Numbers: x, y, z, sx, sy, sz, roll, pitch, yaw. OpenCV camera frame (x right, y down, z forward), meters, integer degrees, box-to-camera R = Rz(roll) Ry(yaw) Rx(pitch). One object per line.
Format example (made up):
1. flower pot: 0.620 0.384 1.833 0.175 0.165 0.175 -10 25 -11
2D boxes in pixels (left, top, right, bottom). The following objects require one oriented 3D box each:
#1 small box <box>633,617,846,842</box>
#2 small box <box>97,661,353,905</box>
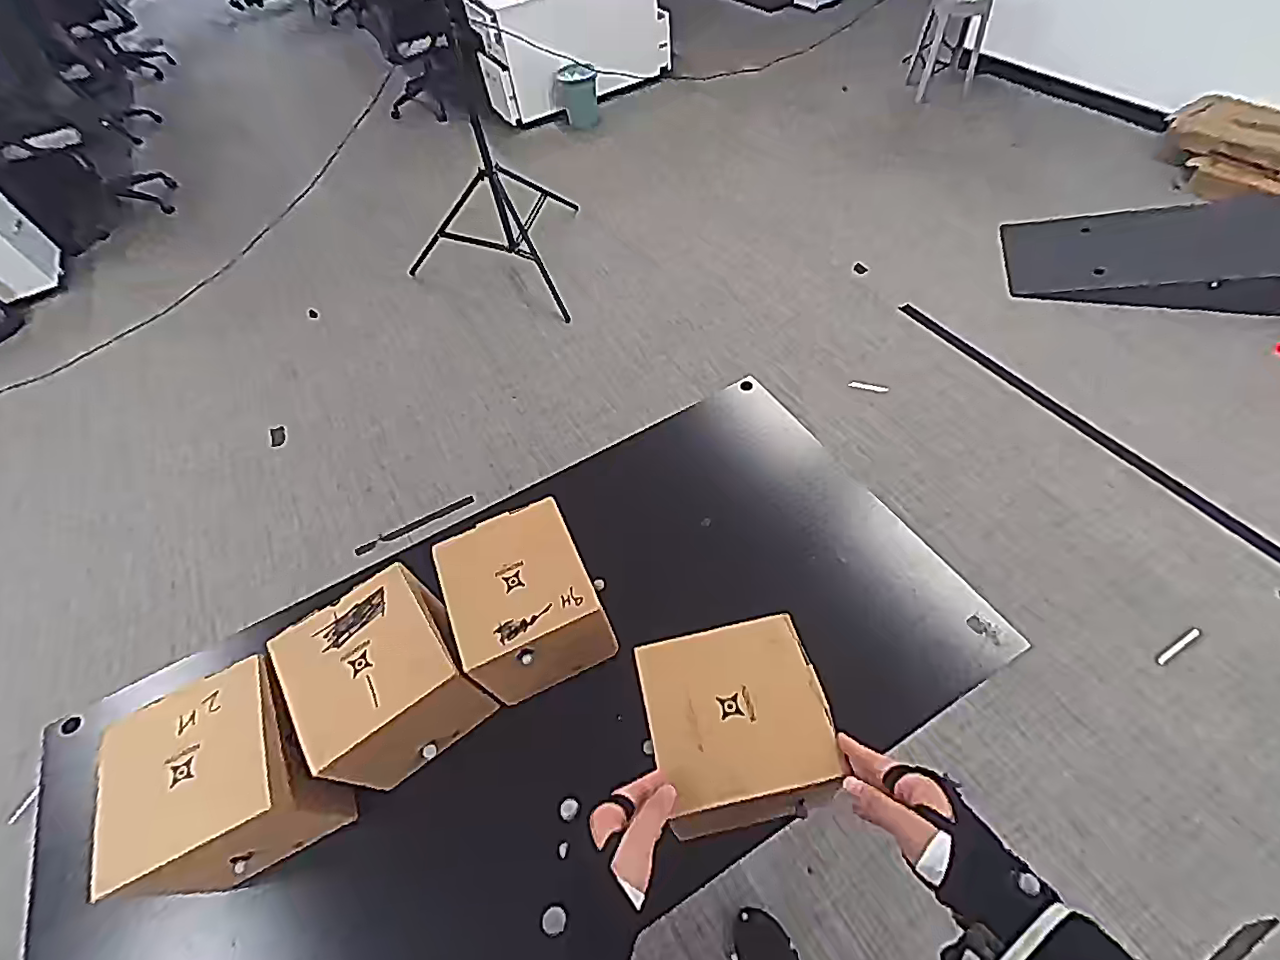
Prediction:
1. small box: 0.100 0.279 0.599 0.179 0.176 0.168 -14 48 -1
2. small box: -0.462 0.347 0.628 0.168 0.176 0.179 -25 55 -12
